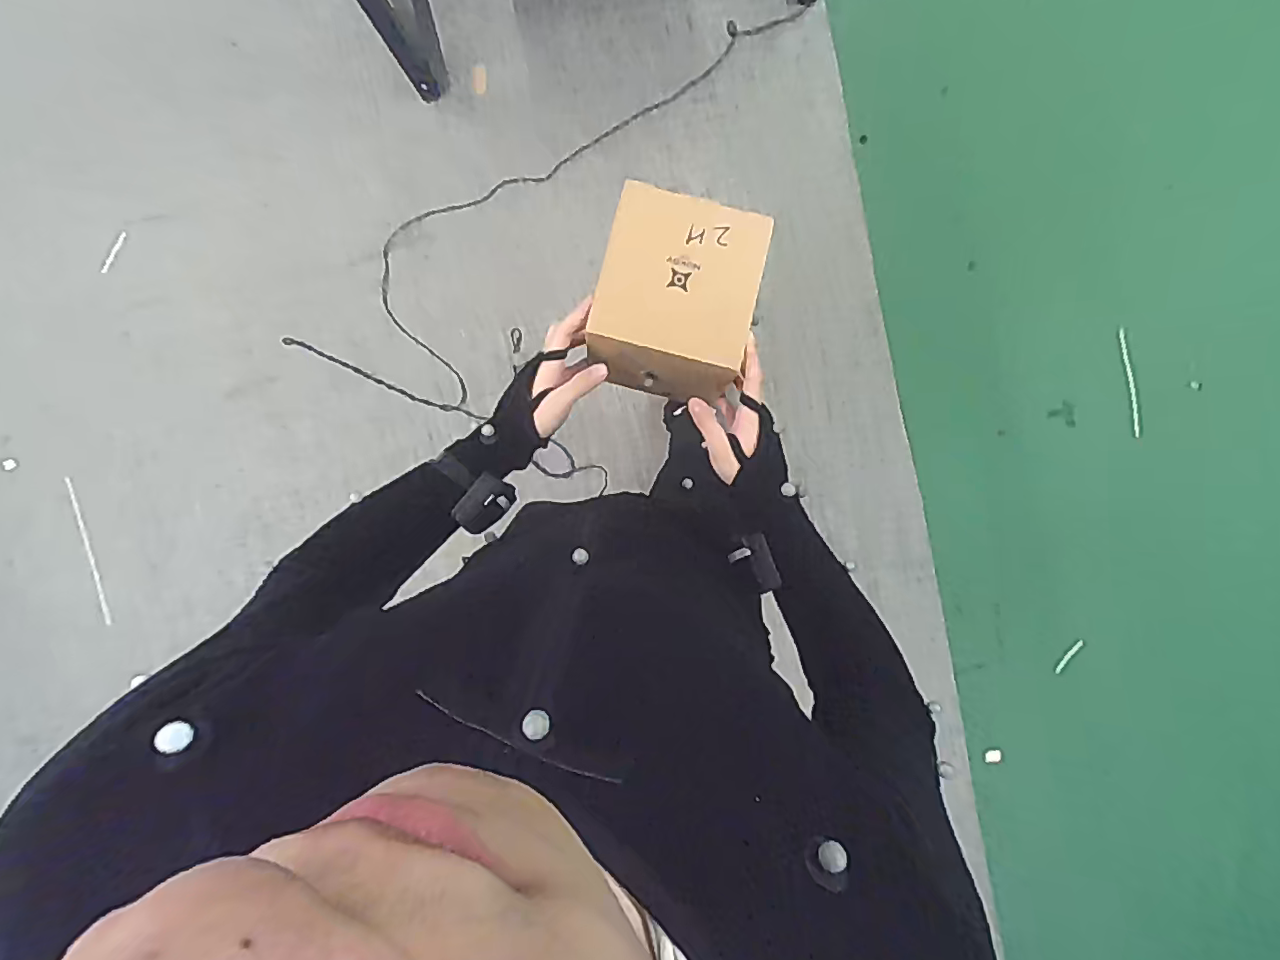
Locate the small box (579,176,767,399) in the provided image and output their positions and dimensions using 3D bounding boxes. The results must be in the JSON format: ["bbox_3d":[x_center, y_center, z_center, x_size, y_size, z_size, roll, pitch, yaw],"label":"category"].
[{"bbox_3d":[0.033,-0.211,0.642,0.168,0.176,0.179,14,83,-2],"label":"small box"}]
